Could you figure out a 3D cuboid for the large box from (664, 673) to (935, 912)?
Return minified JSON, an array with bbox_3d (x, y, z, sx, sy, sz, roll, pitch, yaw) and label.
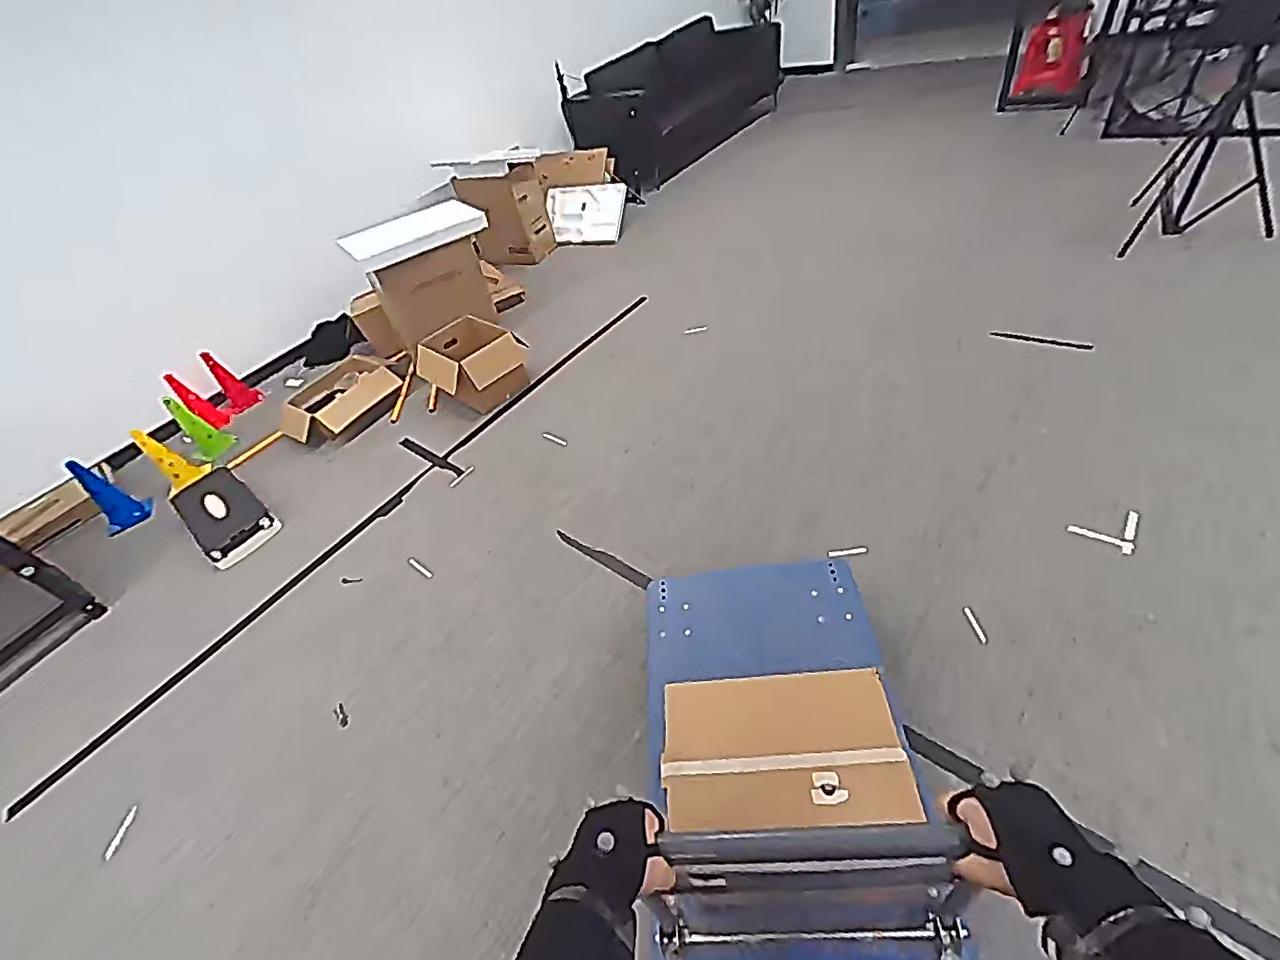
[{"bbox_3d":[0.268,0.599,1.029,0.408,0.320,0.320,-7,45,7],"label":"large box"}]
